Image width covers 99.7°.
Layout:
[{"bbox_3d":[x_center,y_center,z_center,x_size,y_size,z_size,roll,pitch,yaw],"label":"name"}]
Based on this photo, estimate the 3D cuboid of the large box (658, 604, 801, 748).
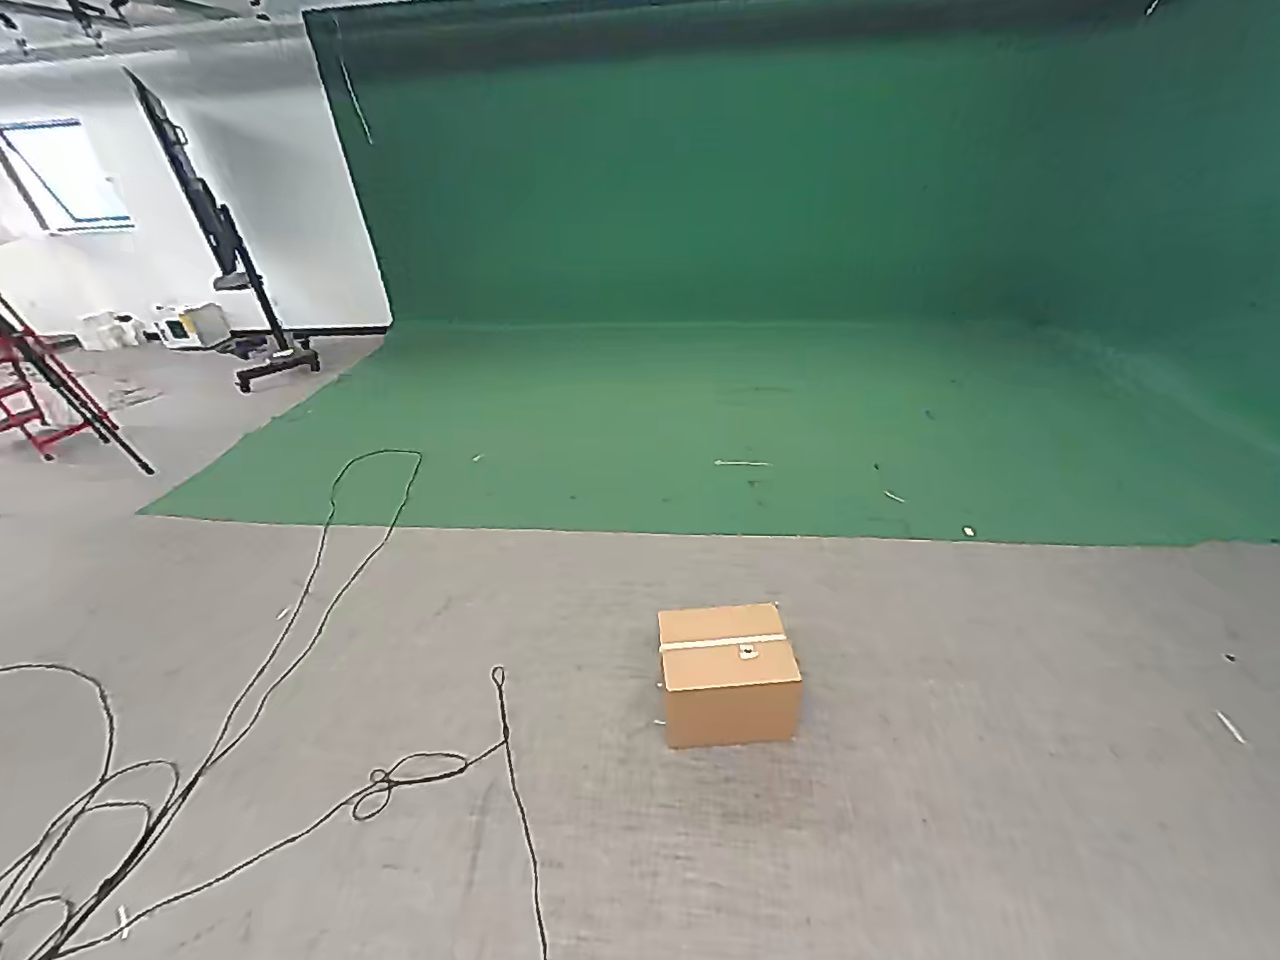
[{"bbox_3d":[0.276,0.645,1.793,0.408,0.320,0.320,-4,33,-1],"label":"large box"}]
